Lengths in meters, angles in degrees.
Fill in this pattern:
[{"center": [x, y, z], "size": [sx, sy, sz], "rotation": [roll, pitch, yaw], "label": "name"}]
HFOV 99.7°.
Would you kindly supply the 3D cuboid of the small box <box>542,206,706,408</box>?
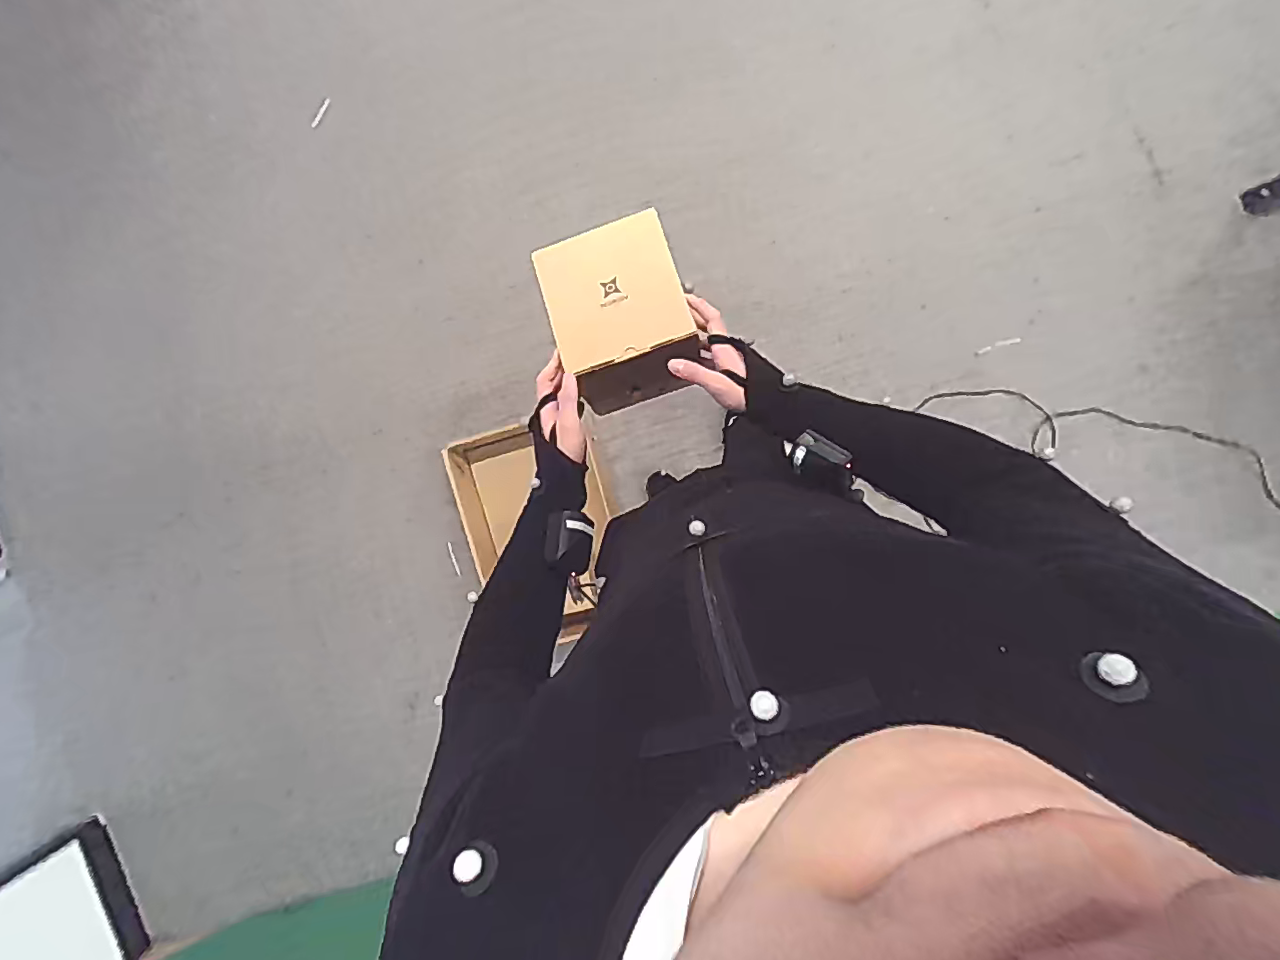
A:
[{"center": [-0.014, -0.219, 0.726], "size": [0.168, 0.176, 0.179], "rotation": [-17, 80, 5], "label": "small box"}]
